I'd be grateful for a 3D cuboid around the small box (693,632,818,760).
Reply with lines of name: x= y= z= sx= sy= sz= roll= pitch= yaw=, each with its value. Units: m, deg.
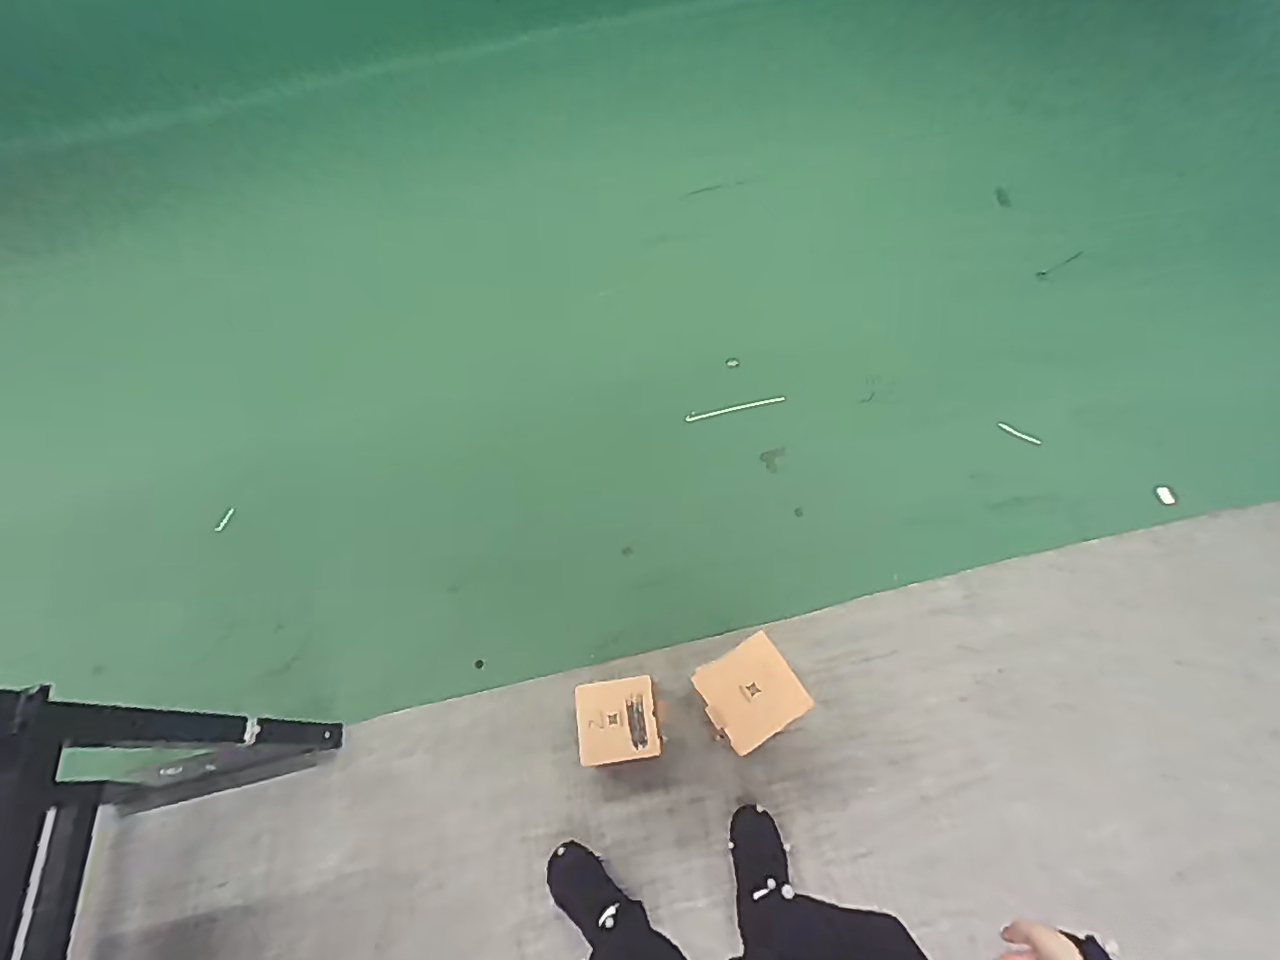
small box: x=0.222 y=0.435 z=1.083 sx=0.179 sy=0.176 sz=0.168 roll=-31 pitch=66 yaw=-11
